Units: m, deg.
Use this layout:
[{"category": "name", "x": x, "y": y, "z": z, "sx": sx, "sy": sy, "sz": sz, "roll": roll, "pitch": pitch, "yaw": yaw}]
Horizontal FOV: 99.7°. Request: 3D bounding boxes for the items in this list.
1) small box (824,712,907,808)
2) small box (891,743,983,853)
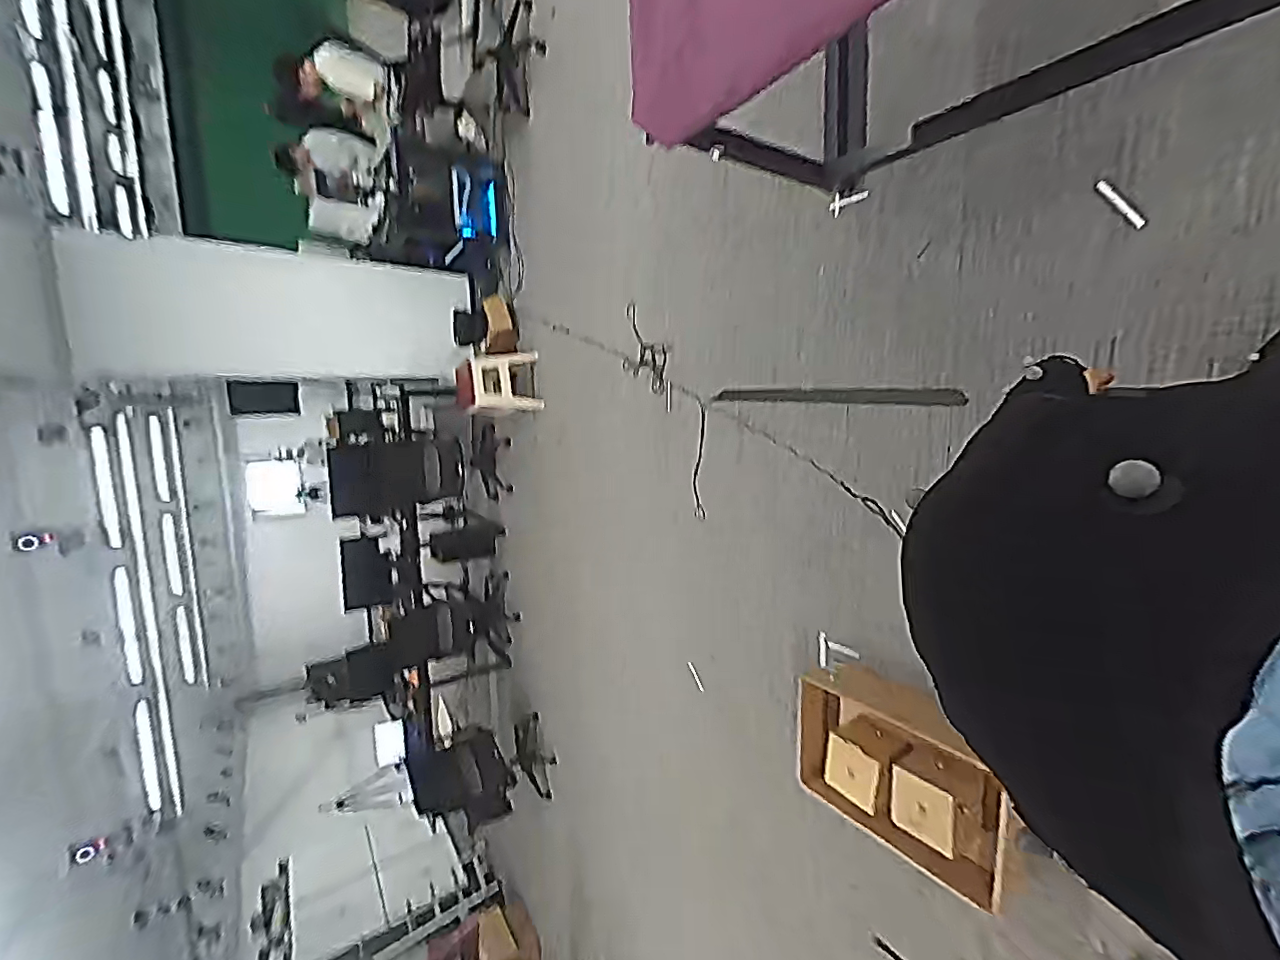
[{"category": "small box", "x": 0.695, "y": 0.854, "z": 1.666, "sx": 0.168, "sy": 0.176, "sz": 0.179, "roll": 19, "pitch": 110, "yaw": 53}, {"category": "small box", "x": 0.815, "y": 0.858, "z": 1.484, "sx": 0.168, "sy": 0.176, "sz": 0.179, "roll": 8, "pitch": 102, "yaw": 57}]
